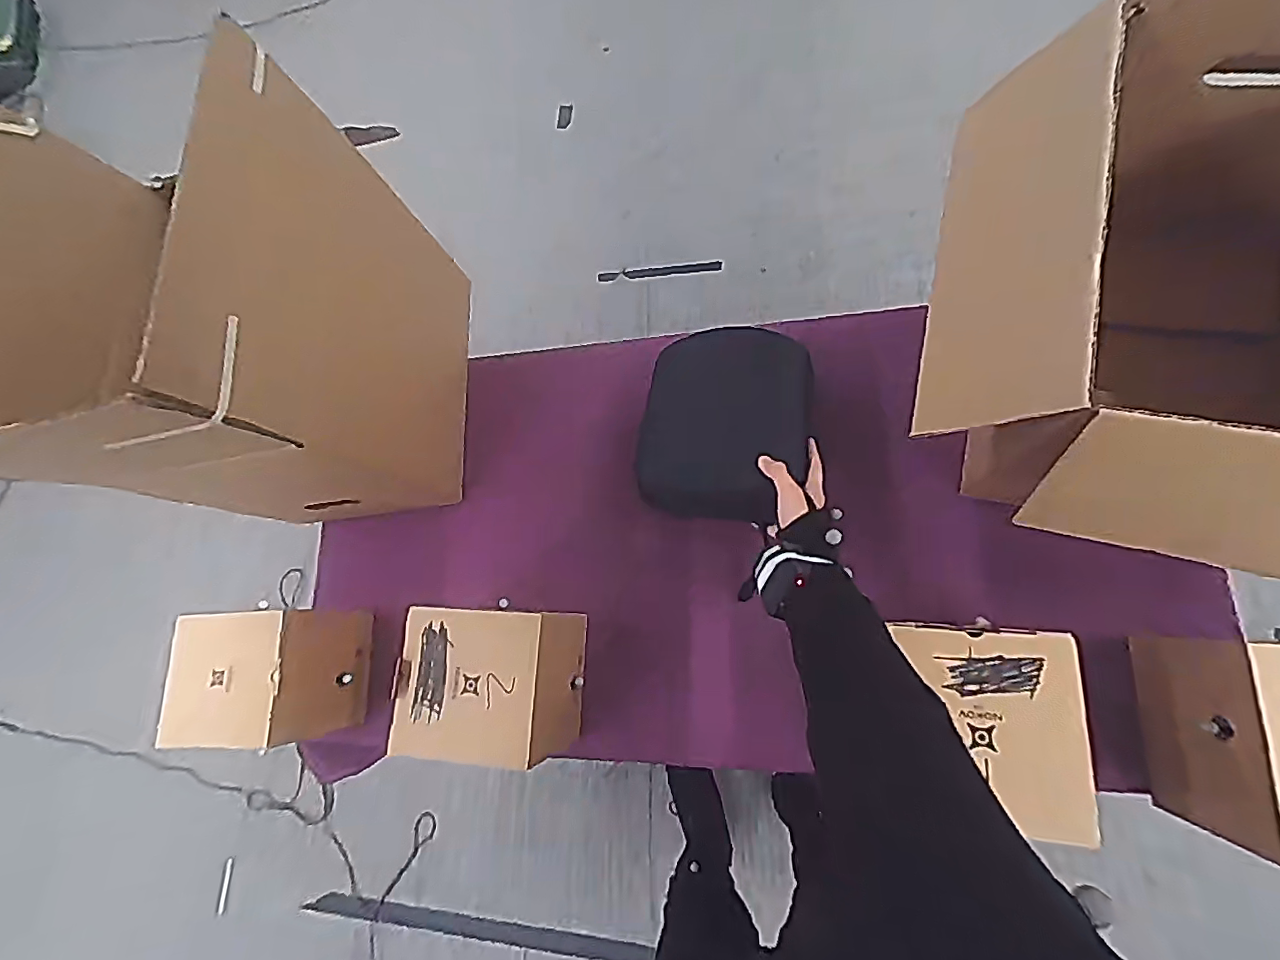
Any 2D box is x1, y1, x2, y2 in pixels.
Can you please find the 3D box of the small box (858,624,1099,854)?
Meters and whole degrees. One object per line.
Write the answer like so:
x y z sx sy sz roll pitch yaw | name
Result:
0.326 0.245 0.562 0.168 0.176 0.179 0 77 14 | small box

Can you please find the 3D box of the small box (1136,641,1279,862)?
0.602 0.243 0.491 0.168 0.176 0.179 1 75 15 | small box

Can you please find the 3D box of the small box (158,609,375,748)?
-0.514 0.274 0.767 0.179 0.176 0.168 -6 74 11 | small box
